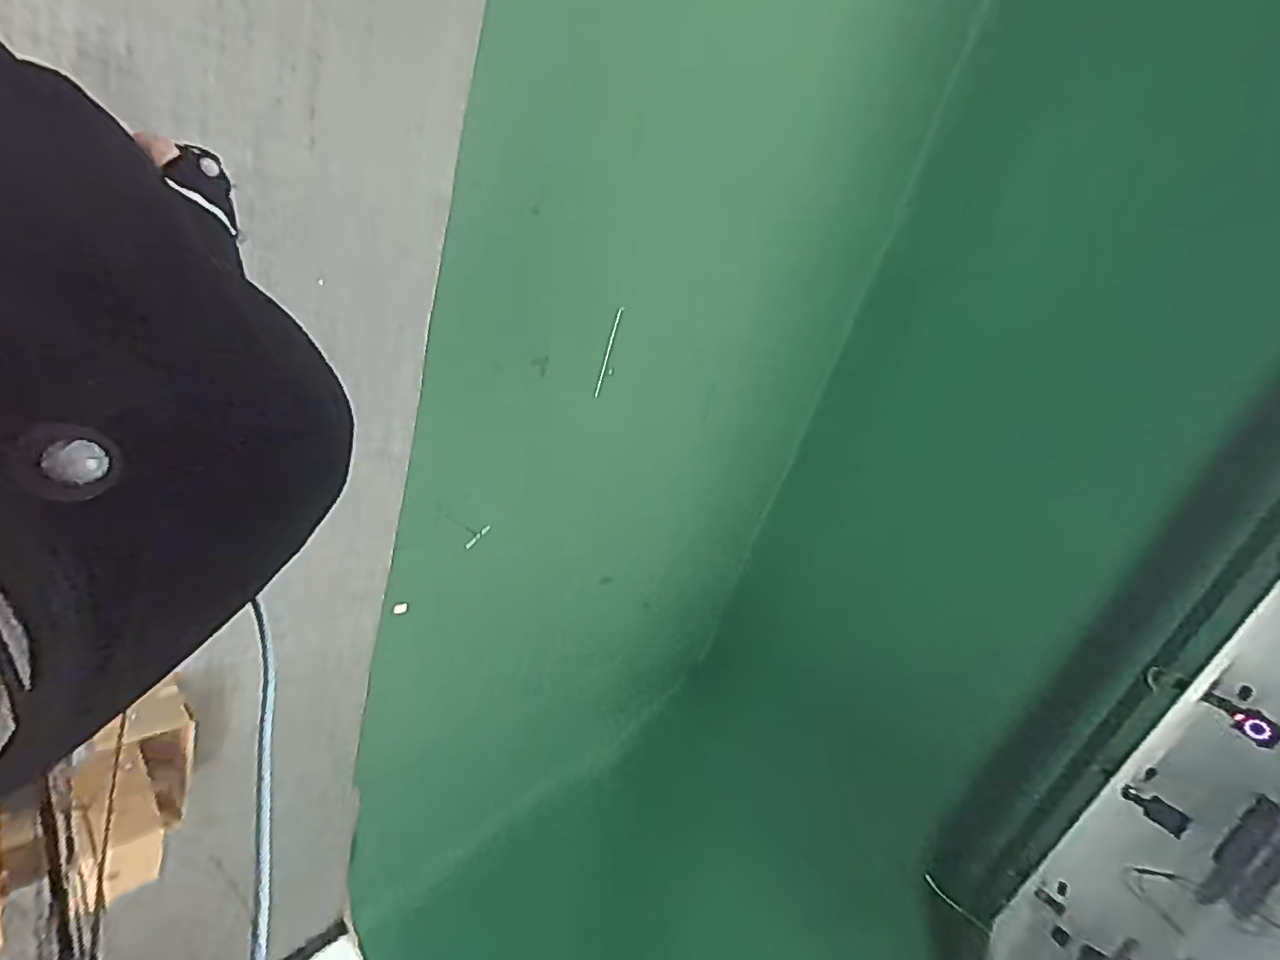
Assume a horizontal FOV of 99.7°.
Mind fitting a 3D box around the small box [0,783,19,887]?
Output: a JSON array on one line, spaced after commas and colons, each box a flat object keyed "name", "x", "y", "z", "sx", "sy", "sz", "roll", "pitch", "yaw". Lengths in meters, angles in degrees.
[{"name": "small box", "x": -1.496, "y": 0.802, "z": 1.169, "sx": 0.179, "sy": 0.176, "sz": 0.168, "roll": -9, "pitch": 121, "yaw": -52}]

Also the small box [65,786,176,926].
[{"name": "small box", "x": -1.226, "y": 0.874, "z": 1.276, "sx": 0.168, "sy": 0.176, "sz": 0.179, "roll": -2, "pitch": 116, "yaw": -52}]
